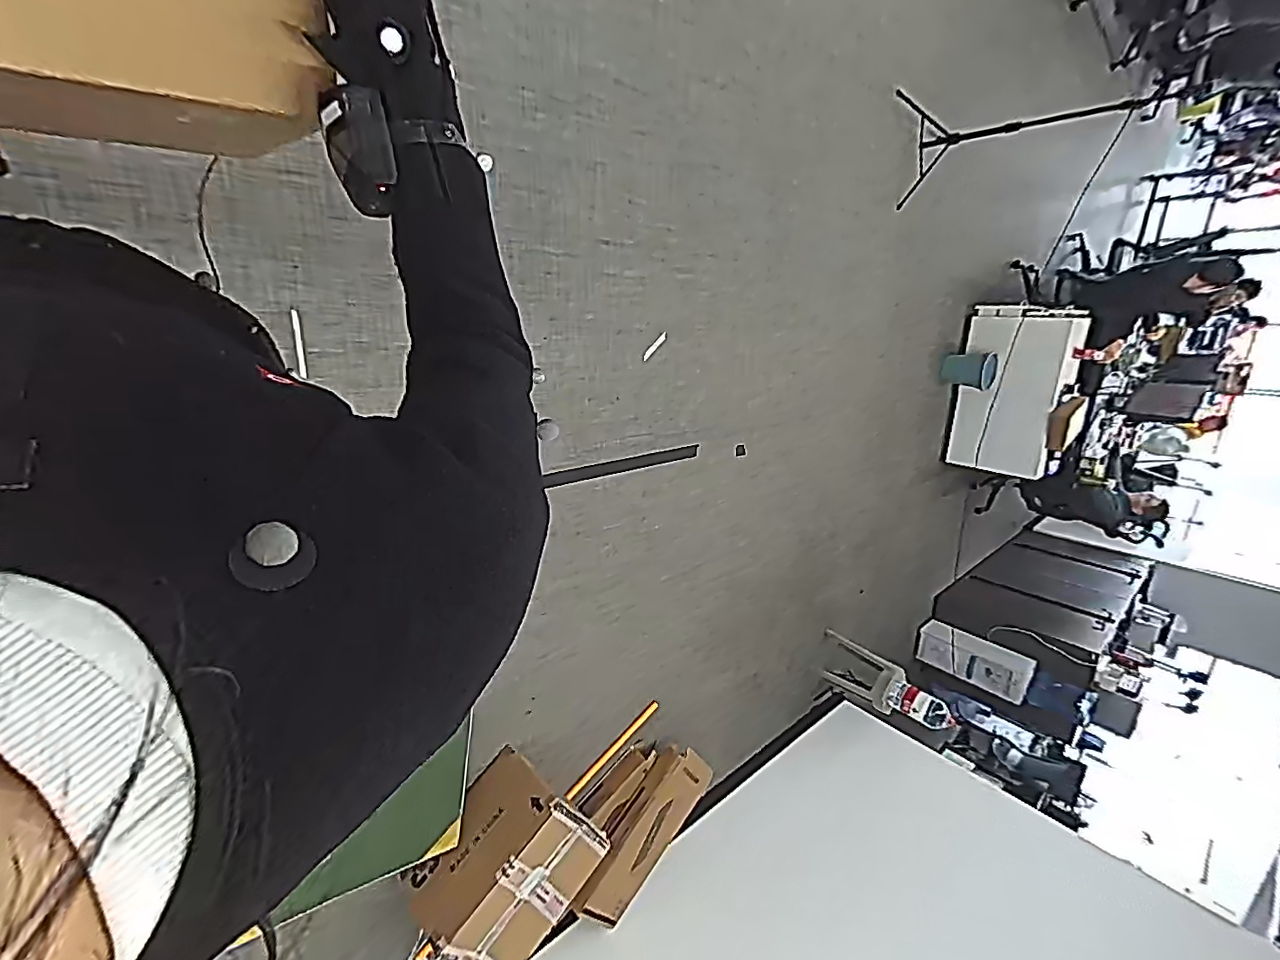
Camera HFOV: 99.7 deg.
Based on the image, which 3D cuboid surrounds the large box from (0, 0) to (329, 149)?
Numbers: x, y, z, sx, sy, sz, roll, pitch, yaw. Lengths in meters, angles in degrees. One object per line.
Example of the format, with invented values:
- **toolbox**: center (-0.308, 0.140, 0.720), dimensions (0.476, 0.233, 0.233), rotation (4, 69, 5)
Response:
- **large box**: center (-0.462, -0.399, 0.300), dimensions (0.408, 0.320, 0.320), rotation (-18, 122, -39)
